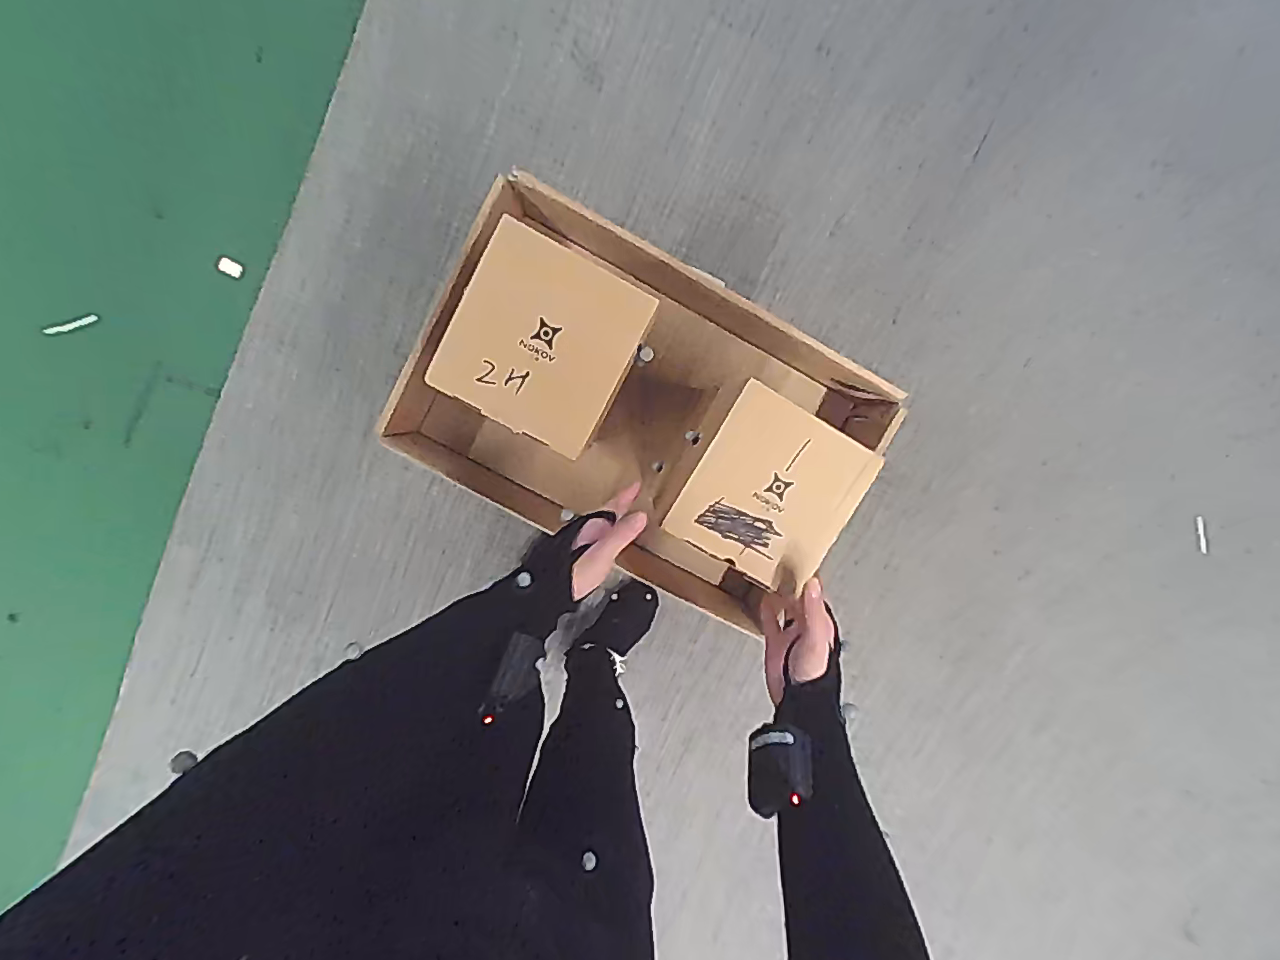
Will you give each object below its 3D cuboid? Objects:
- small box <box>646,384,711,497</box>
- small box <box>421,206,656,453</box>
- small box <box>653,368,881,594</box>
[{"bbox_3d":[0.117,-0.028,0.778,0.168,0.176,0.179,29,97,-6],"label":"small box"},{"bbox_3d":[-0.100,-0.148,0.585,0.168,0.176,0.179,28,95,-5],"label":"small box"},{"bbox_3d":[0.124,-0.006,0.613,0.168,0.176,0.179,30,95,-7],"label":"small box"}]
